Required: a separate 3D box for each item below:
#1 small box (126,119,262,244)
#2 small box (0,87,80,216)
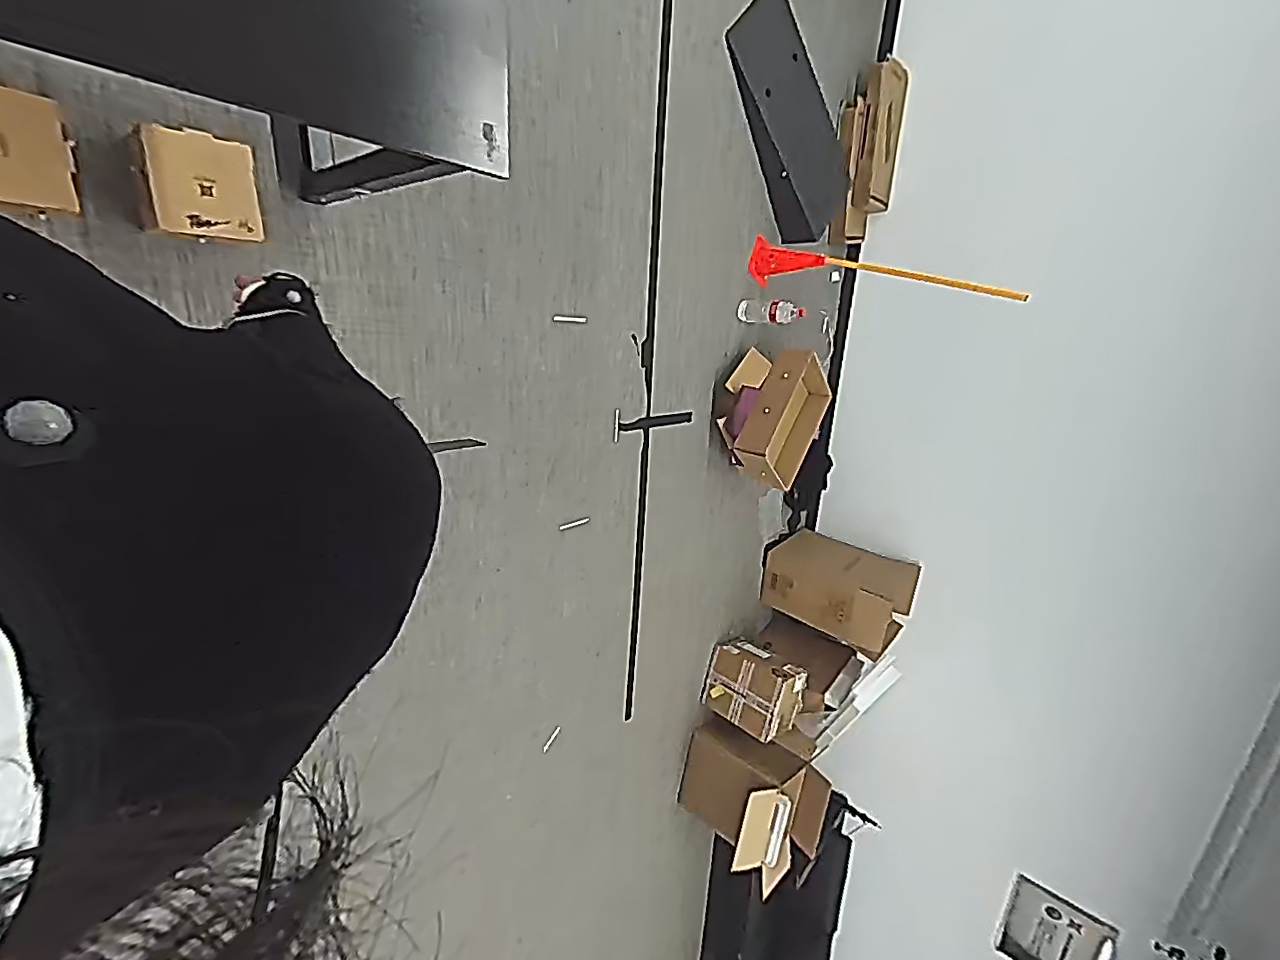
[{"bbox_3d":[-0.871,-0.570,1.058,0.168,0.176,0.179,-16,115,-46],"label":"small box"},{"bbox_3d":[-1.047,-0.529,0.867,0.179,0.176,0.168,-15,114,-46],"label":"small box"}]
